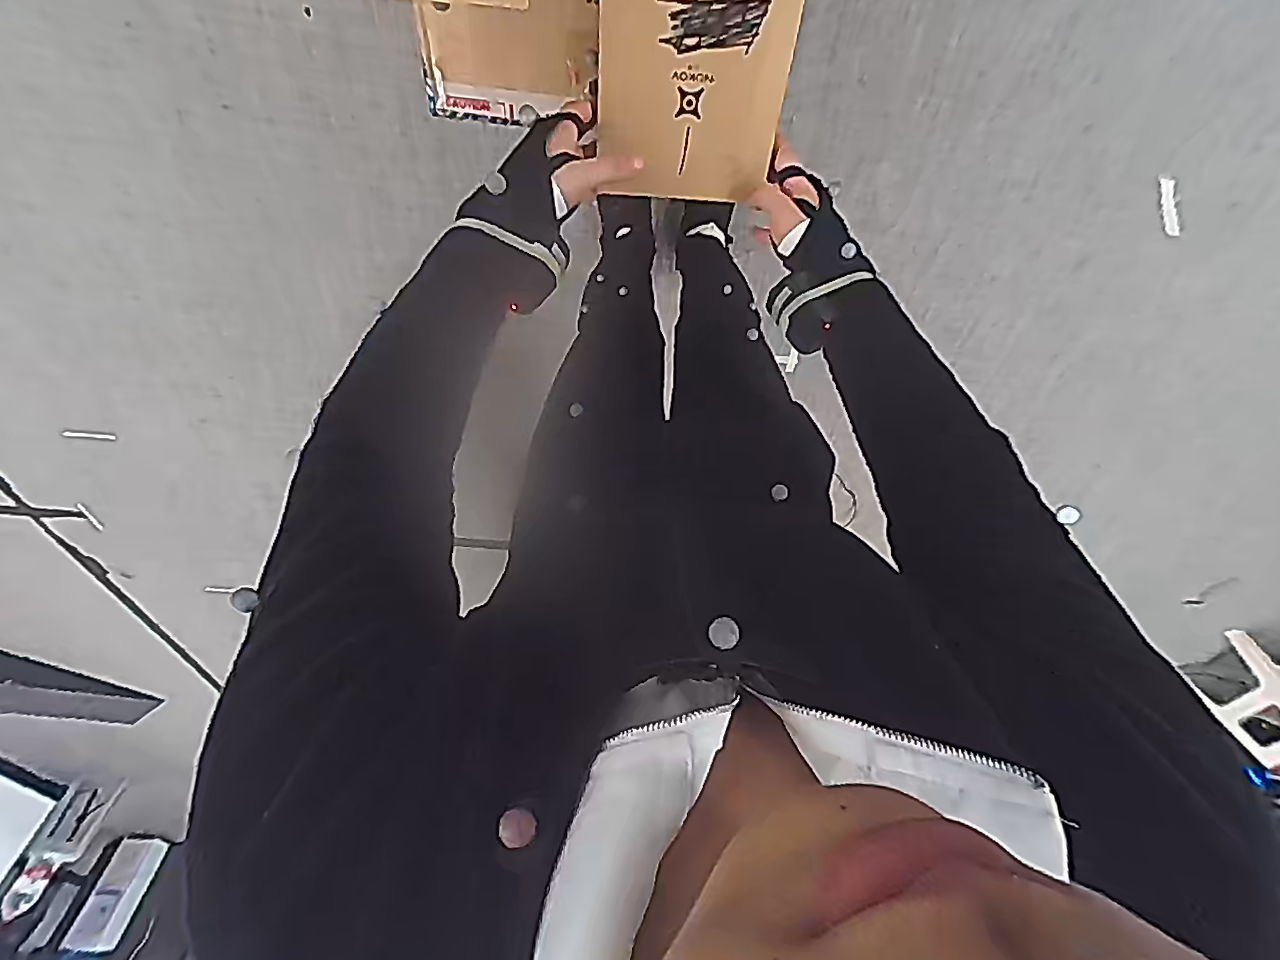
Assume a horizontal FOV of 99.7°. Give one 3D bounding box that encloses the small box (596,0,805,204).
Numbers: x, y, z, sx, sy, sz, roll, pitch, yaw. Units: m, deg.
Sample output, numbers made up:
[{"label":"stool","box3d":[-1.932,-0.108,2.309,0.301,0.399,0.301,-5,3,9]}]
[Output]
[{"label":"small box","box3d":[0.042,-0.395,0.529,0.168,0.176,0.179,2,134,-5]}]
